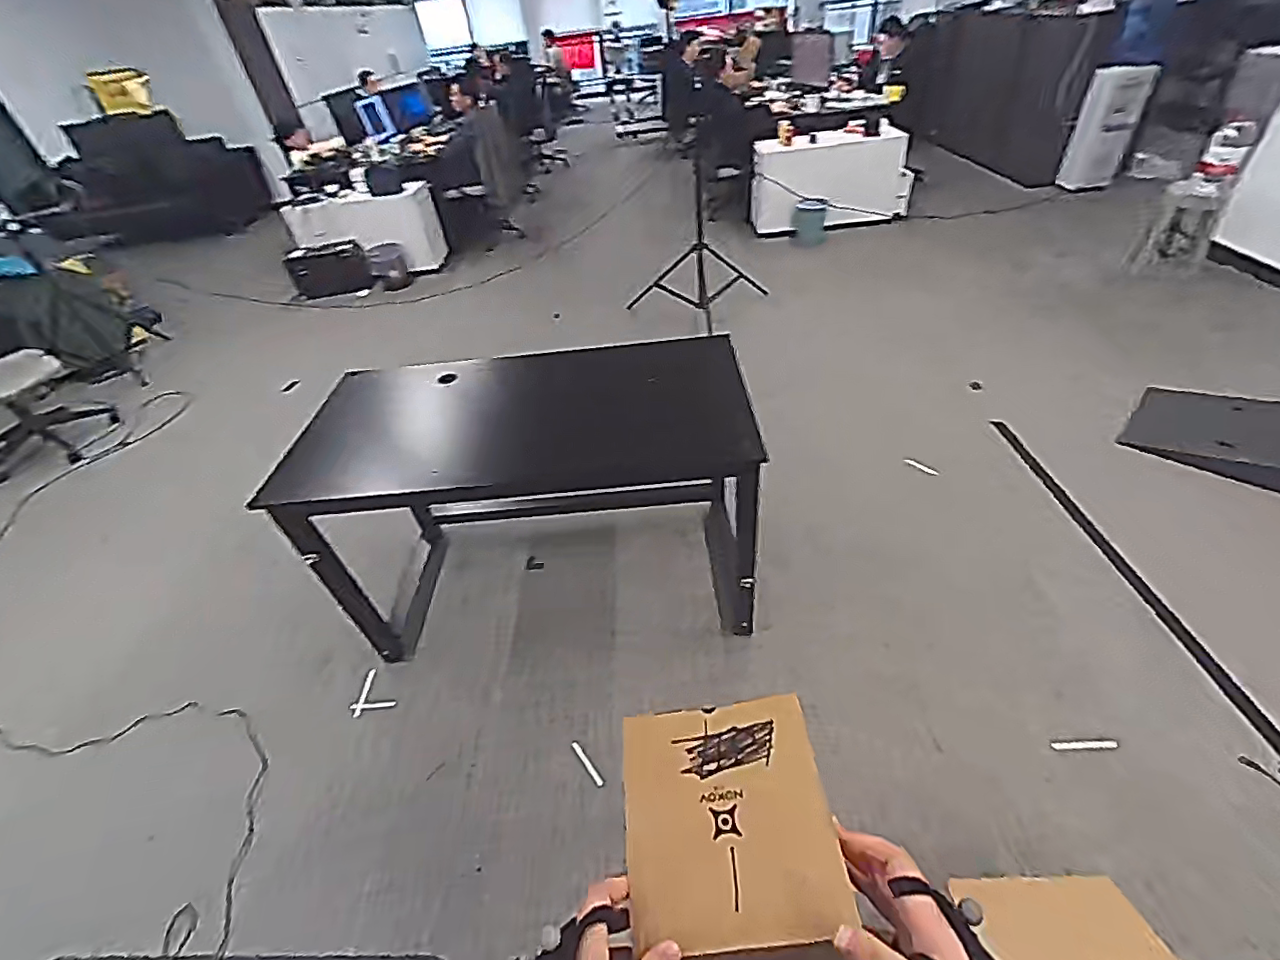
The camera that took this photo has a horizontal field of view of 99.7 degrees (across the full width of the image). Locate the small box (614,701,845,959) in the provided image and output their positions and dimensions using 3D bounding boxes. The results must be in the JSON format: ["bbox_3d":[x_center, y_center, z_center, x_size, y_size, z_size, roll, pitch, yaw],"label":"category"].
[{"bbox_3d":[0.073,0.335,0.498,0.168,0.176,0.179,-11,42,4],"label":"small box"}]
